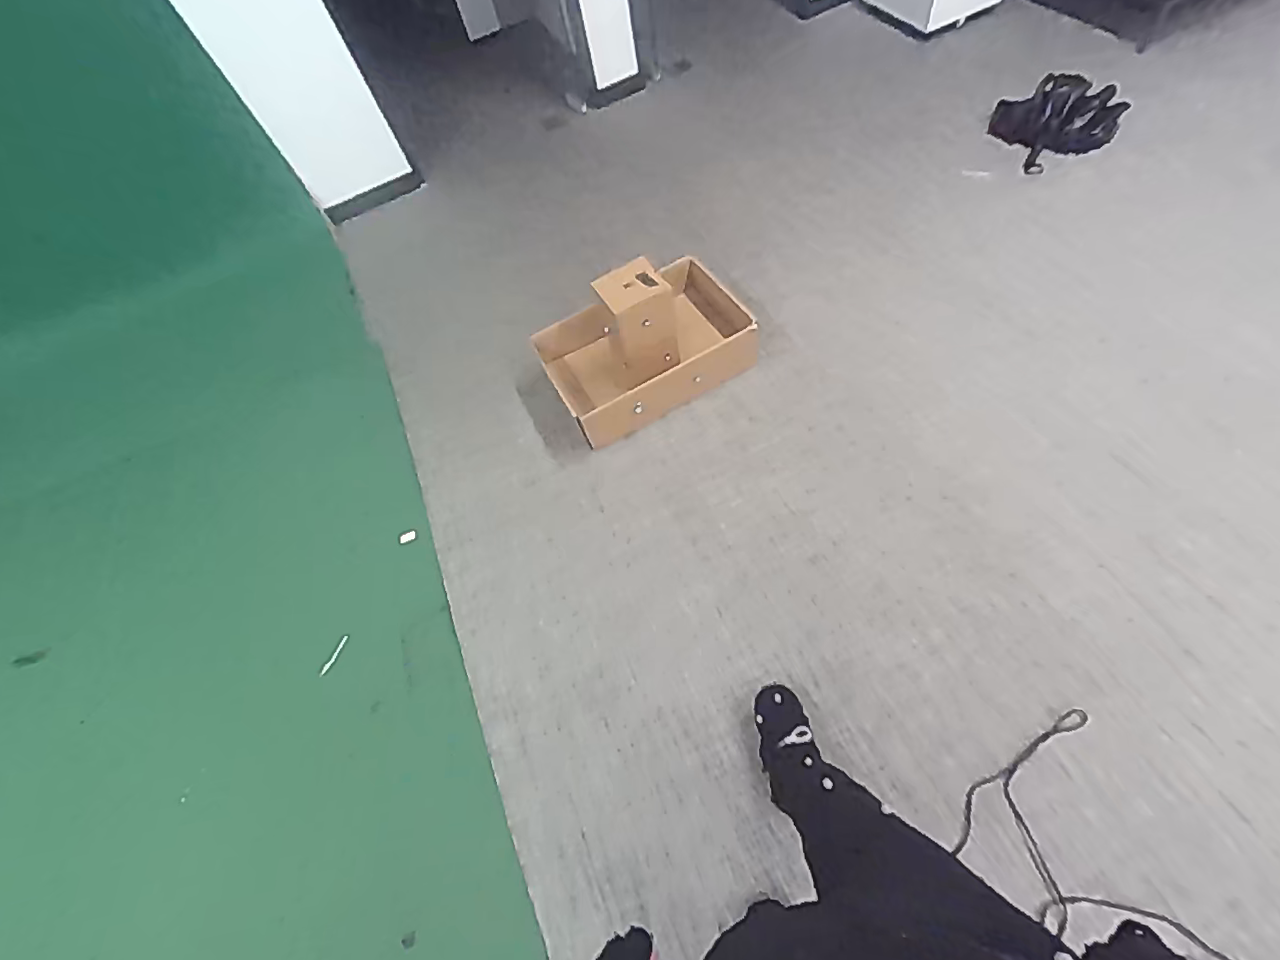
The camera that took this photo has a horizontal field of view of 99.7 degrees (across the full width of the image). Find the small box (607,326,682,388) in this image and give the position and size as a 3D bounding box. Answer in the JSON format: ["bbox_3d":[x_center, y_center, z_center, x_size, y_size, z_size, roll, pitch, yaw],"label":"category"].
[{"bbox_3d":[0.018,-0.414,1.710,0.168,0.176,0.179,-29,58,-7],"label":"small box"}]

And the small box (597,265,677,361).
[{"bbox_3d":[-0.002,-0.484,1.582,0.179,0.176,0.168,-28,58,-6],"label":"small box"}]
